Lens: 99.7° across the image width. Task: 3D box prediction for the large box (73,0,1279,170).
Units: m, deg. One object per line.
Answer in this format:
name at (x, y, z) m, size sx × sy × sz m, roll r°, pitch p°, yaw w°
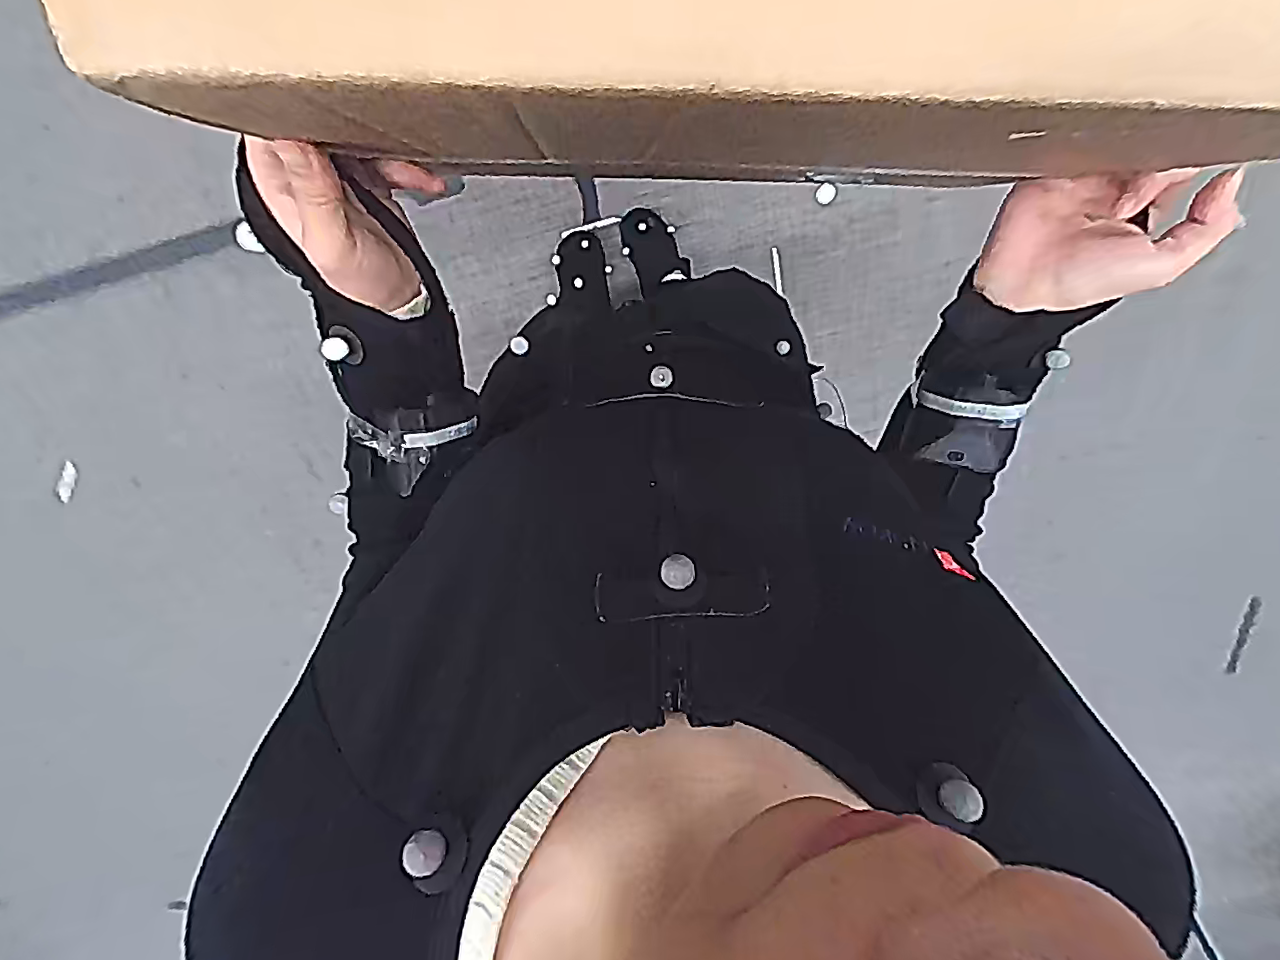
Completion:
large box at (0.056, -0.310, 0.204) m, size 0.408 × 0.320 × 0.320 m, roll -1°, pitch 117°, yaw -4°
